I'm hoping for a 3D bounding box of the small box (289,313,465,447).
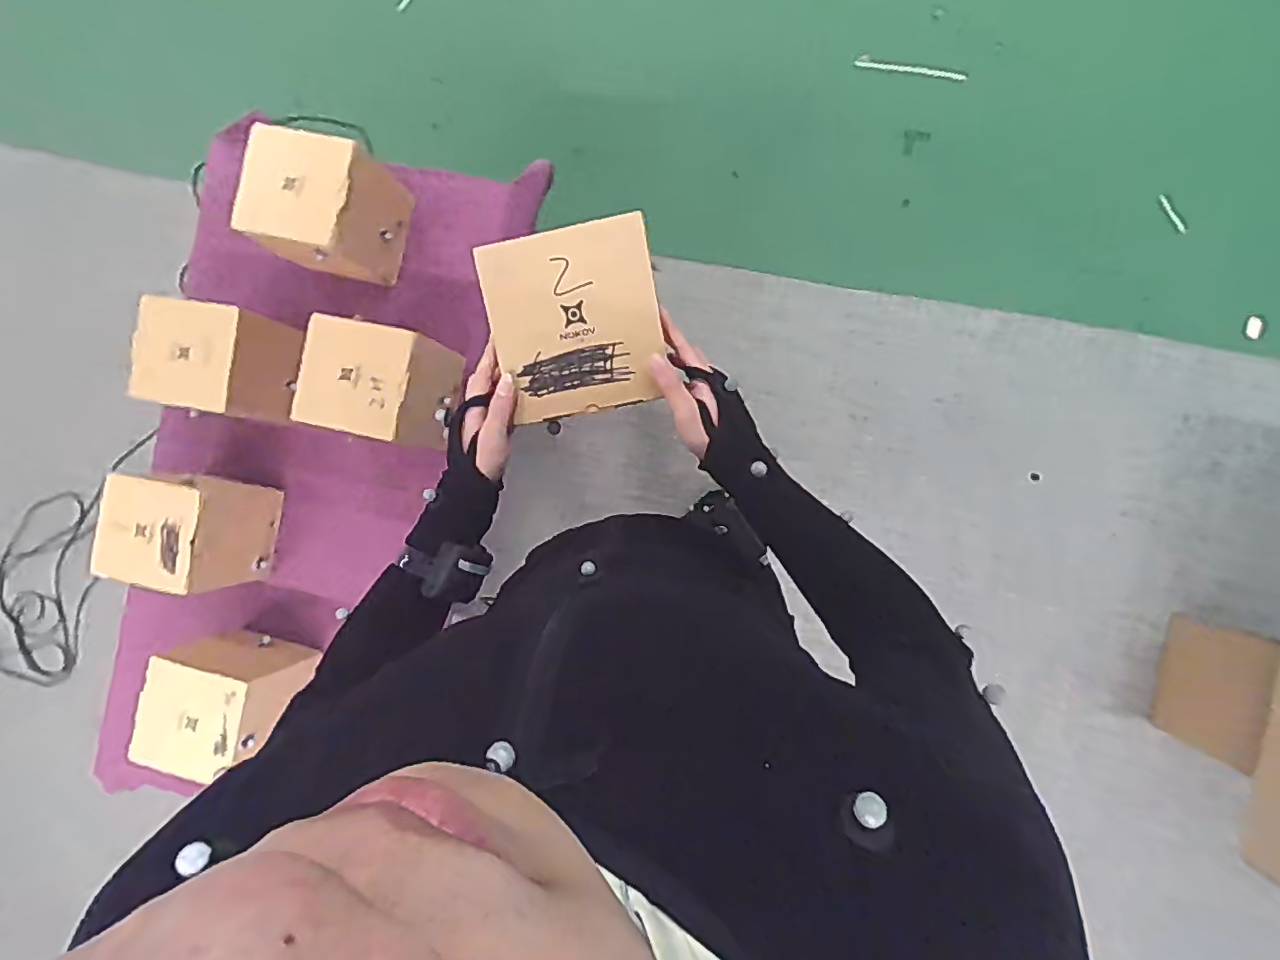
[{"bbox_3d":[-0.416,-0.152,0.878,0.179,0.176,0.168,12,91,8],"label":"small box"}]

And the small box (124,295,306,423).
[{"bbox_3d":[-0.702,-0.195,0.916,0.179,0.176,0.168,10,91,6],"label":"small box"}]

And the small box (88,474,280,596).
[{"bbox_3d":[-0.757,0.084,0.915,0.179,0.176,0.168,10,90,7],"label":"small box"}]

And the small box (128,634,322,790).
[{"bbox_3d":[-0.677,0.369,0.898,0.179,0.176,0.168,12,91,7],"label":"small box"}]

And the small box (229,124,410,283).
[{"bbox_3d":[-0.520,-0.447,0.898,0.179,0.176,0.168,13,91,6],"label":"small box"}]
